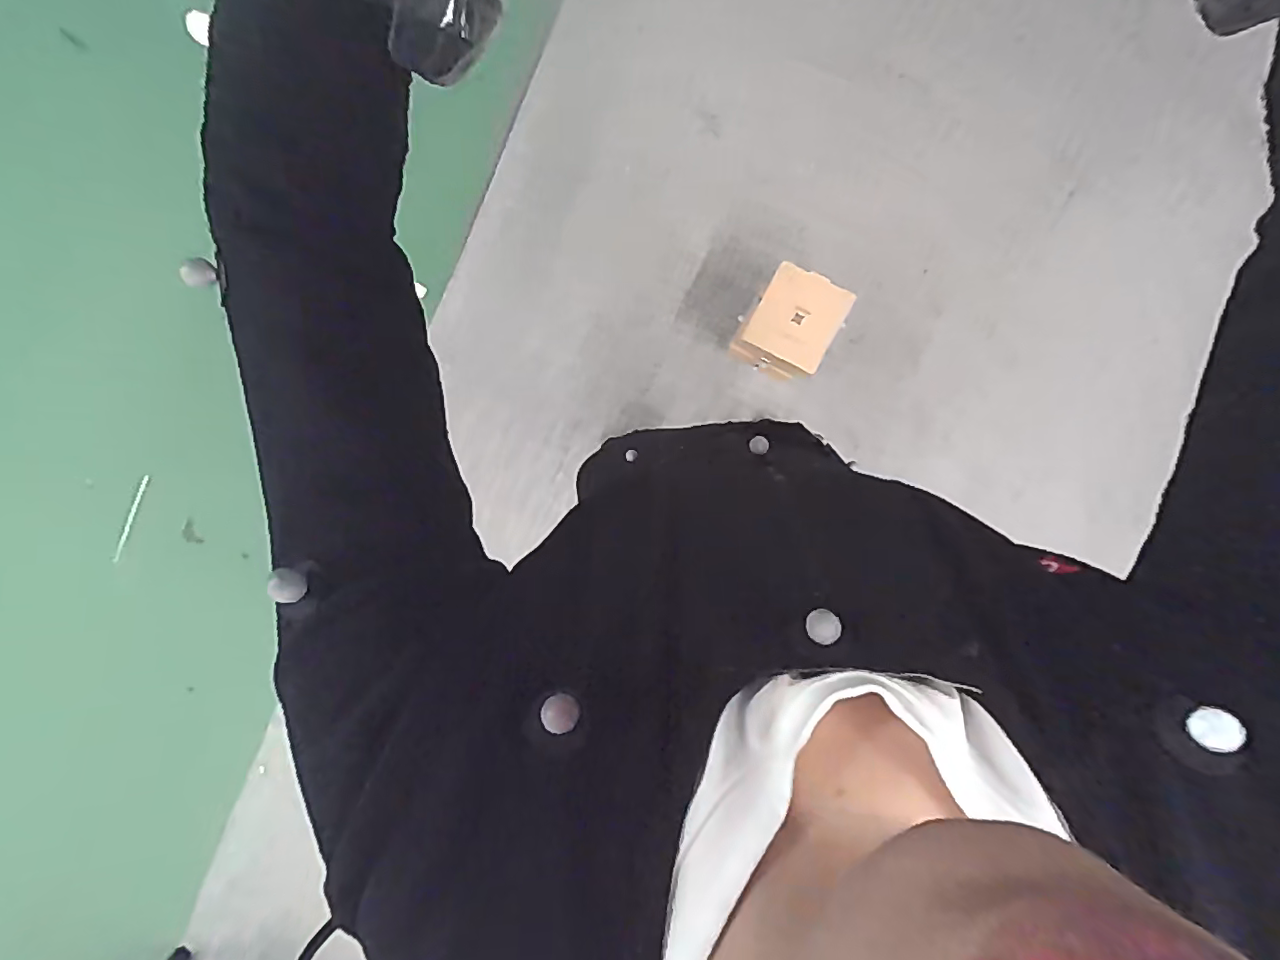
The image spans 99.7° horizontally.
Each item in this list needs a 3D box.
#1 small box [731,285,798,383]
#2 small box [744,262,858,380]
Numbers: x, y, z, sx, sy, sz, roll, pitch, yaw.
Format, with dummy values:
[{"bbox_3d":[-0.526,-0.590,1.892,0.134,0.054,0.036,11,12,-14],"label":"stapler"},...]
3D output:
[{"bbox_3d":[0.337,-0.347,1.324,0.179,0.176,0.168,29,98,5],"label":"small box"},{"bbox_3d":[0.333,-0.331,1.163,0.168,0.176,0.179,28,99,5],"label":"small box"}]
